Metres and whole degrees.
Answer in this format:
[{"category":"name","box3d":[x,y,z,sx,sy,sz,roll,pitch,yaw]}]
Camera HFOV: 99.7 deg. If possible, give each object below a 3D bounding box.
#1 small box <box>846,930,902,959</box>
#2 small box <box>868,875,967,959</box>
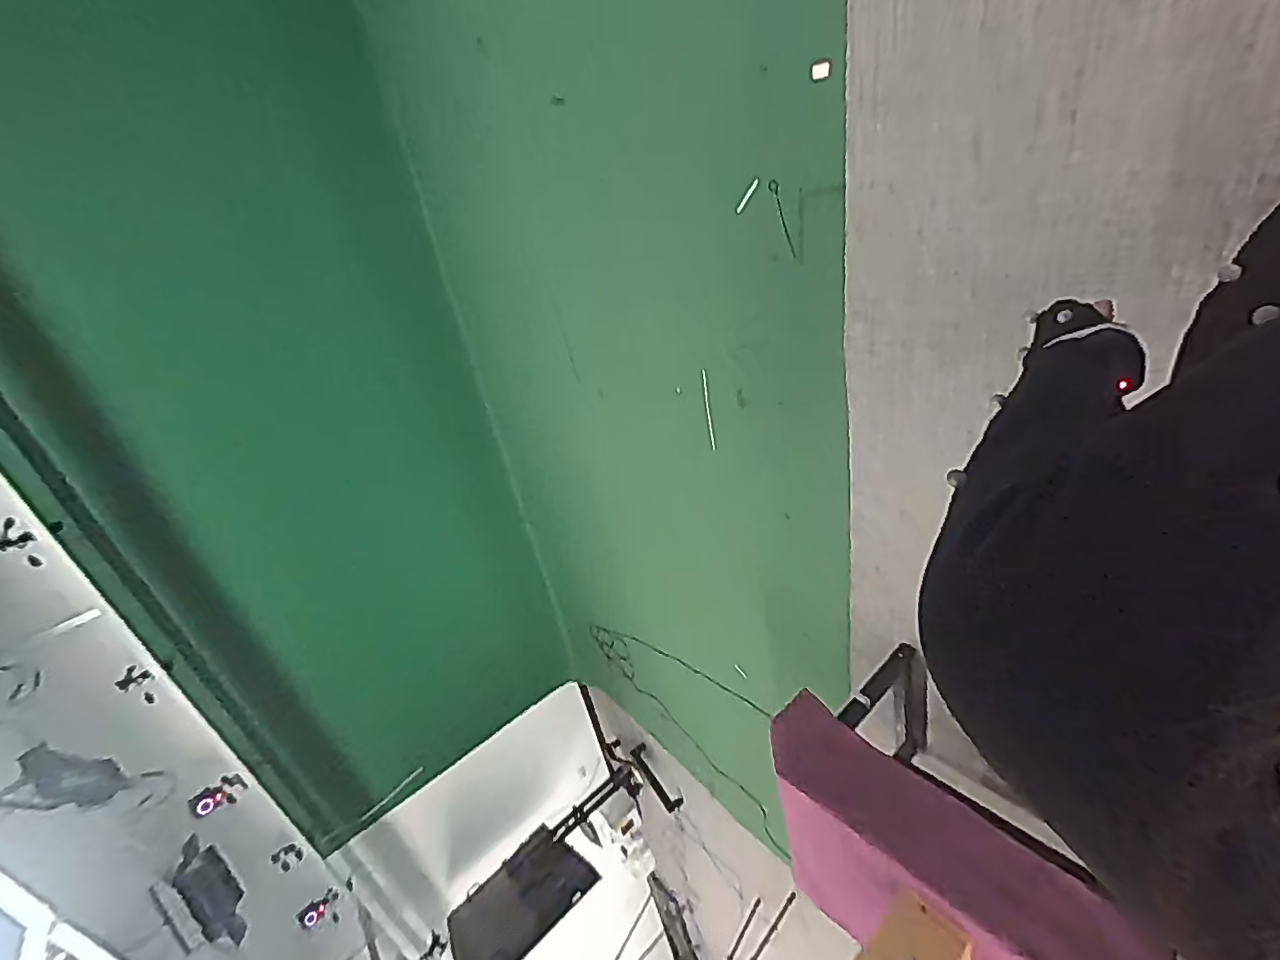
[{"category":"small box","box3d":[0.563,1.215,1.256,0.168,0.176,0.179,18,131,50]},{"category":"small box","box3d":[0.687,1.143,1.337,0.168,0.176,0.179,18,131,48]}]
